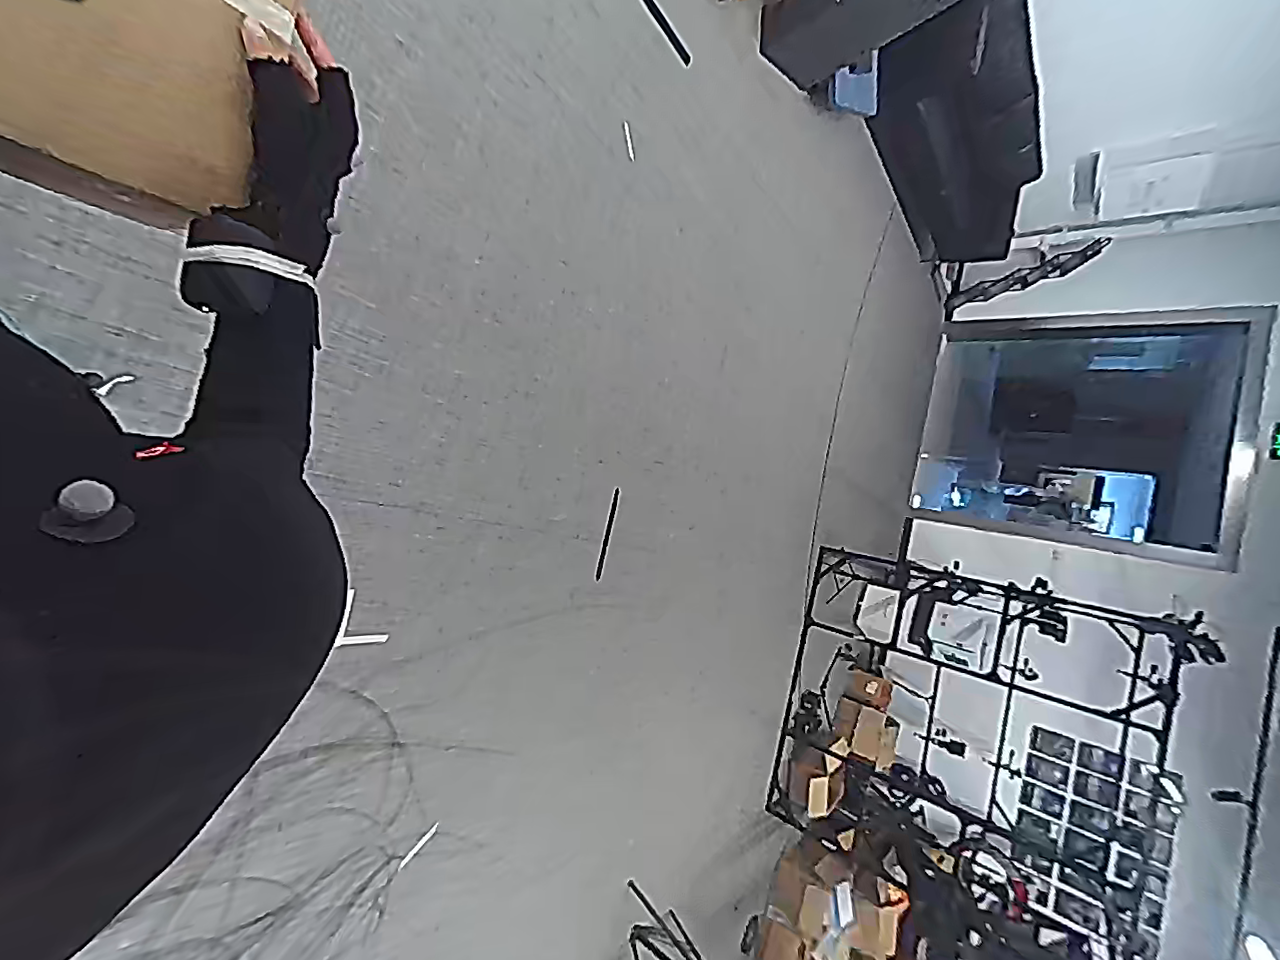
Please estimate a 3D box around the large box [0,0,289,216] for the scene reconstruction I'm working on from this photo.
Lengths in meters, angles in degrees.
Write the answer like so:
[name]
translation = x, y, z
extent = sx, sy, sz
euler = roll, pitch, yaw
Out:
[large box]
translation = -0.511, -0.418, 0.356
extent = 0.408, 0.320, 0.320
euler = 10, 100, -53
